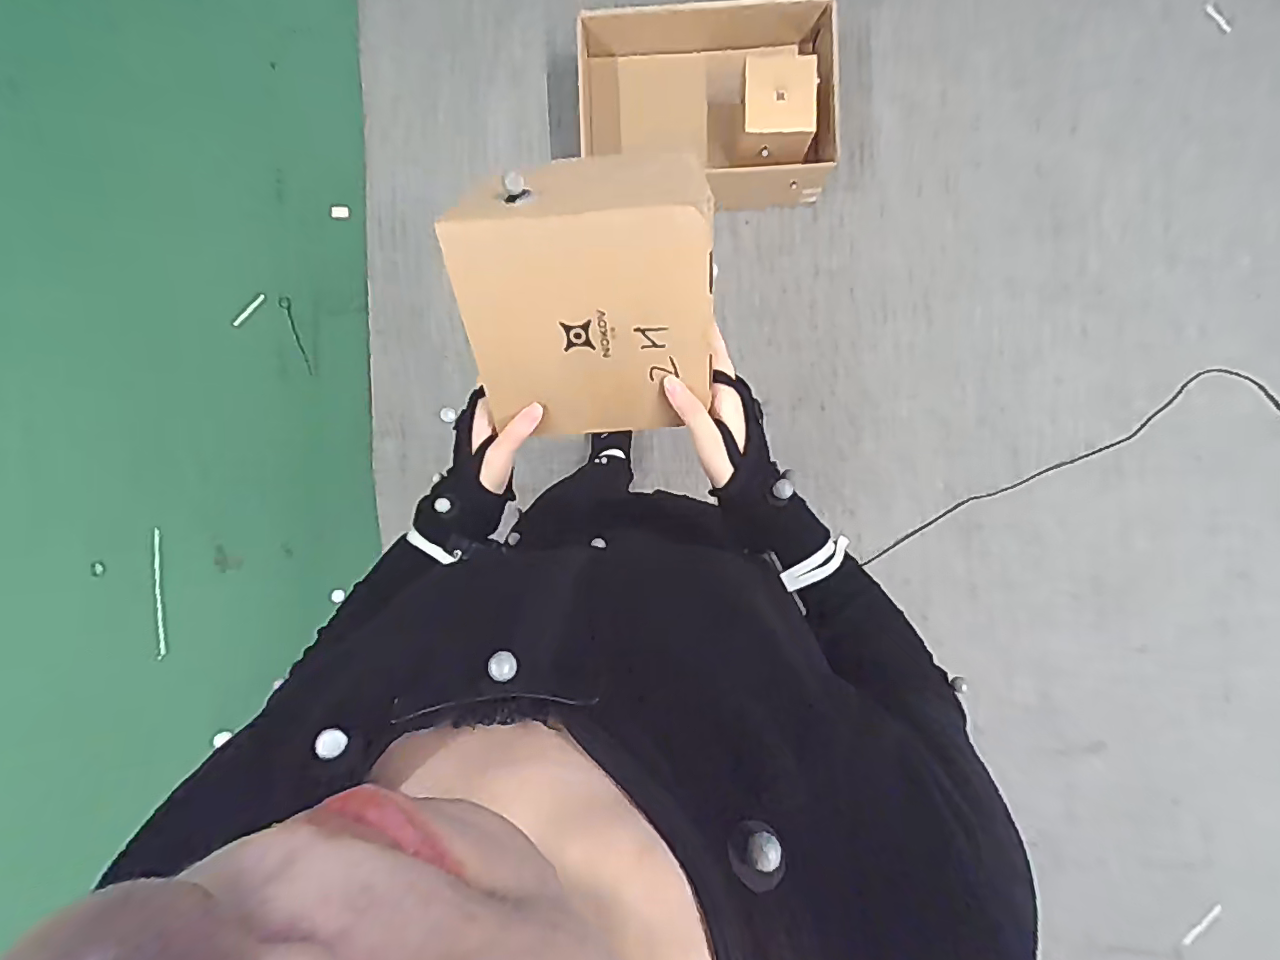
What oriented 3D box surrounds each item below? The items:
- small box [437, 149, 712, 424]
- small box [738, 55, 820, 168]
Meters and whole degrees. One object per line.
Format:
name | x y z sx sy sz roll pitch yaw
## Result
small box | -0.037 -0.162 0.446 0.179 0.176 0.168 -2 131 2
small box | 0.334 -0.893 1.326 0.168 0.176 0.179 1 91 2
